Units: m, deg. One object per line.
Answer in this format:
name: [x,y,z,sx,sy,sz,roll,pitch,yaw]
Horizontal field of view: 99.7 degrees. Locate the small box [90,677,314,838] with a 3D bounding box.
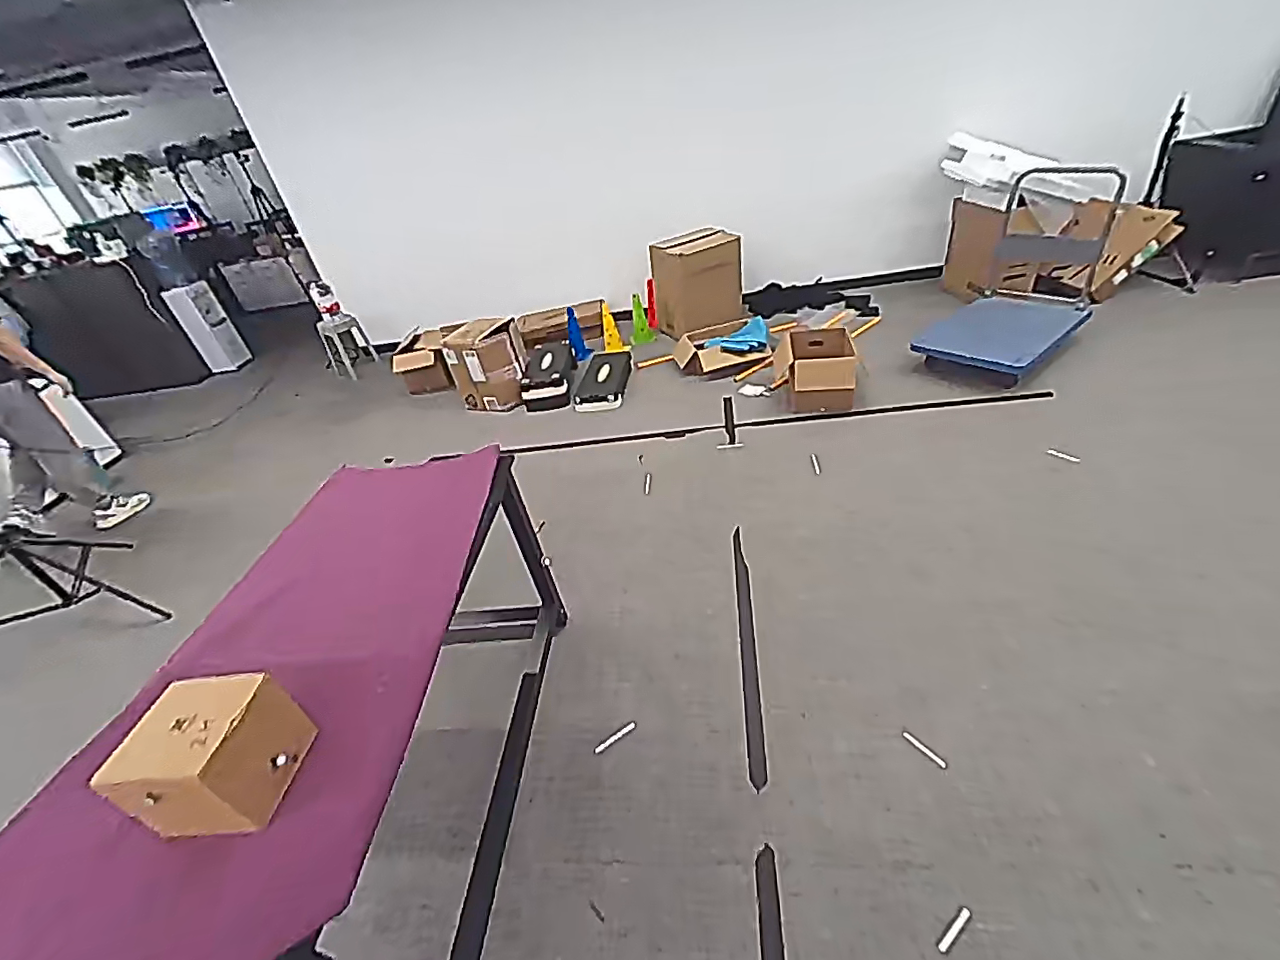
small box: [-0.666,0.436,0.848,0.179,0.176,0.168,-7,34,6]
